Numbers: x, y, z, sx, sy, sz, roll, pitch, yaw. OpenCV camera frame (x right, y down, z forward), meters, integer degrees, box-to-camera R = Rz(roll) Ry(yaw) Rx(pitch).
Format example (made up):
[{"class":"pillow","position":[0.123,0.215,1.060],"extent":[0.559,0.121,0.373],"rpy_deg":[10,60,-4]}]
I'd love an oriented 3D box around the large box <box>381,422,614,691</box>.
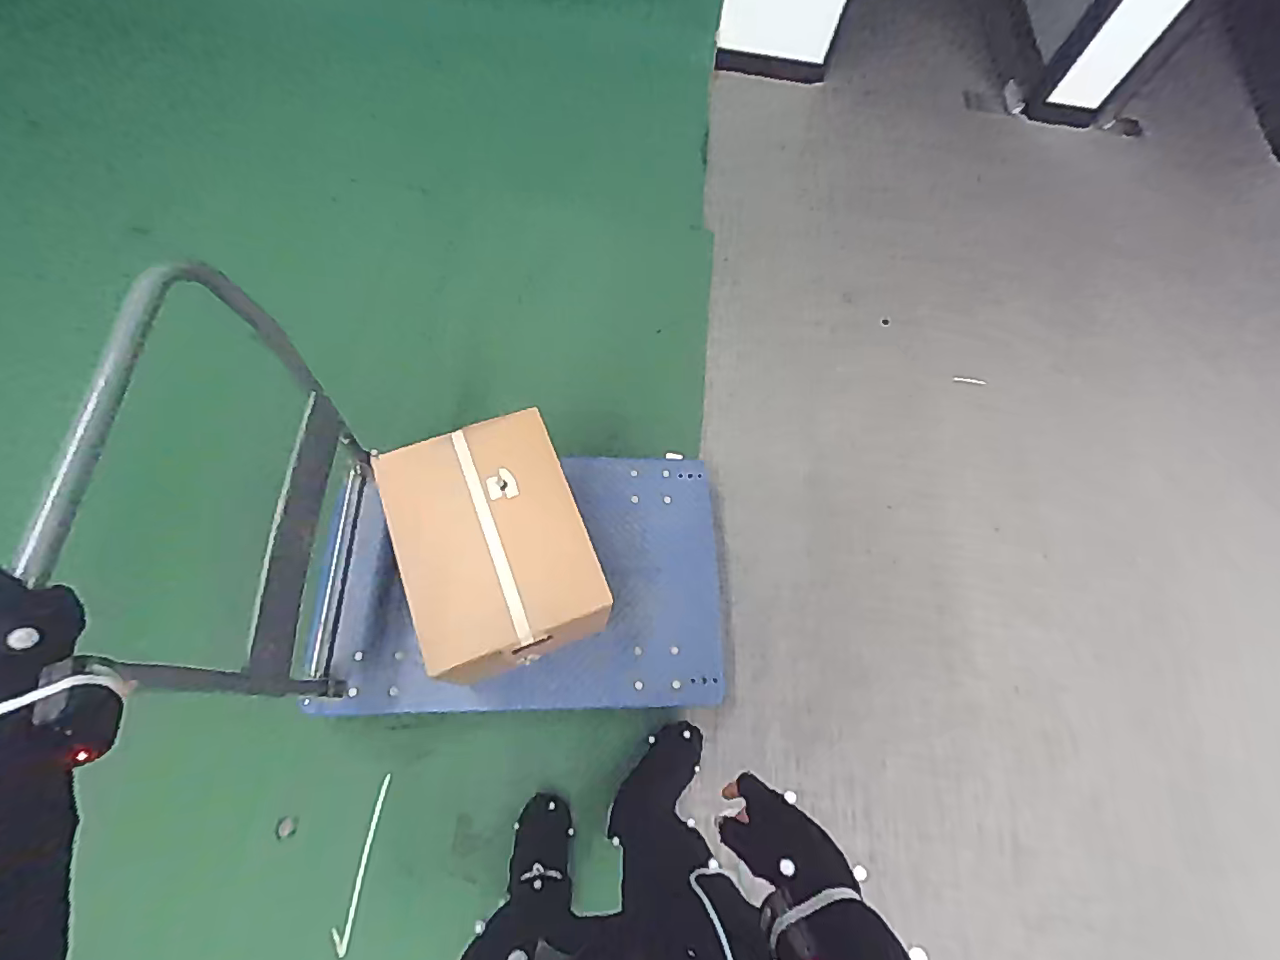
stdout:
[{"class":"large box","position":[-0.267,0.163,1.087],"extent":[0.320,0.320,0.408],"rpy_deg":[-19,69,-13]}]
